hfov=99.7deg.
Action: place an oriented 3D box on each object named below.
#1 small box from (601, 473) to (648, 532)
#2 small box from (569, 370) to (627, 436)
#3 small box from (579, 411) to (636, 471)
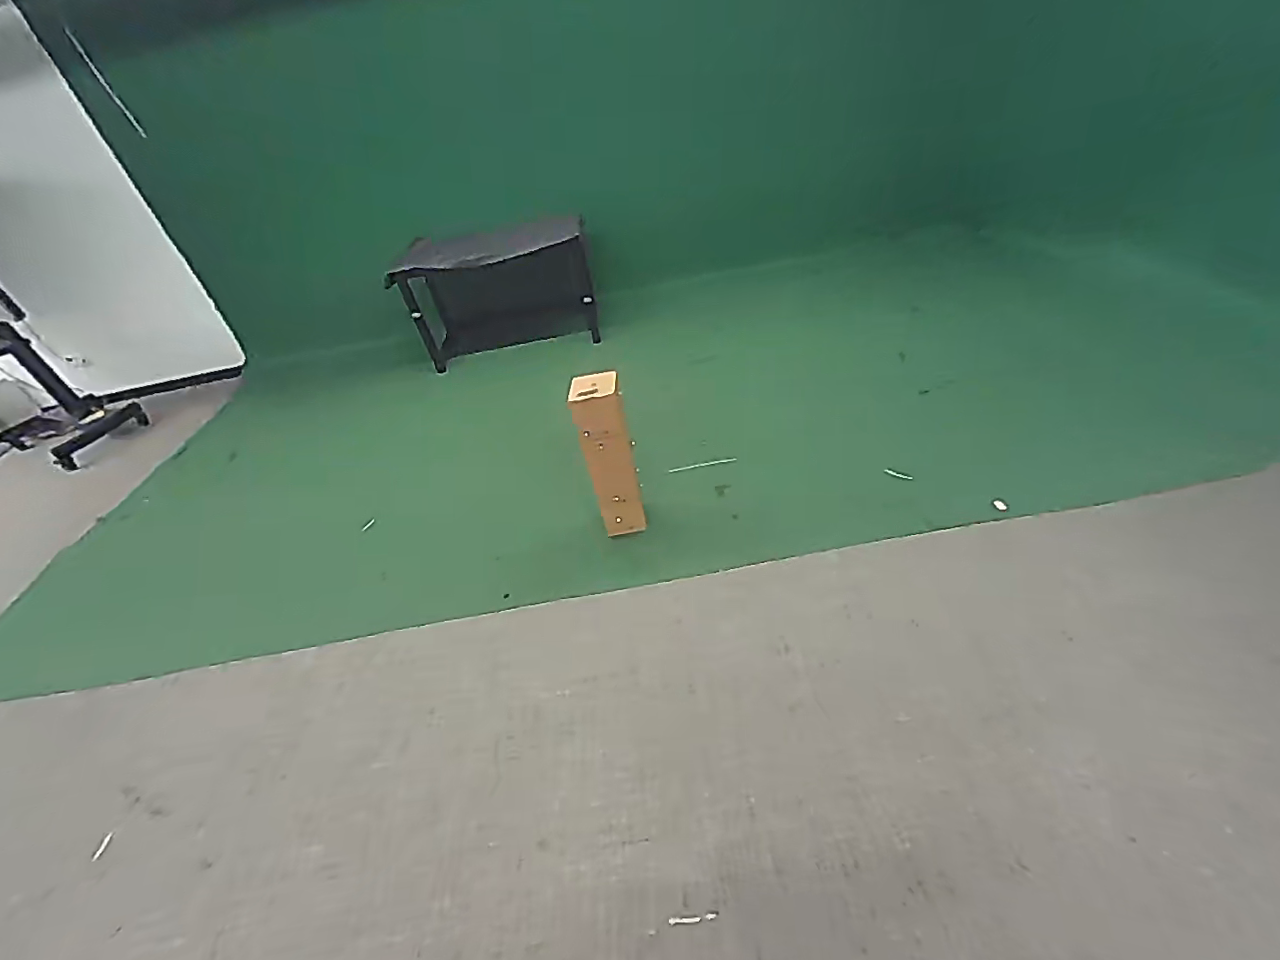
[{"bbox_3d":[-0.063,0.102,2.246,0.168,0.176,0.179,-11,37,4],"label":"small box"},{"bbox_3d":[-0.143,-0.269,1.930,0.168,0.176,0.179,-8,37,7],"label":"small box"},{"bbox_3d":[-0.119,-0.149,2.040,0.179,0.176,0.168,-9,39,6],"label":"small box"}]
